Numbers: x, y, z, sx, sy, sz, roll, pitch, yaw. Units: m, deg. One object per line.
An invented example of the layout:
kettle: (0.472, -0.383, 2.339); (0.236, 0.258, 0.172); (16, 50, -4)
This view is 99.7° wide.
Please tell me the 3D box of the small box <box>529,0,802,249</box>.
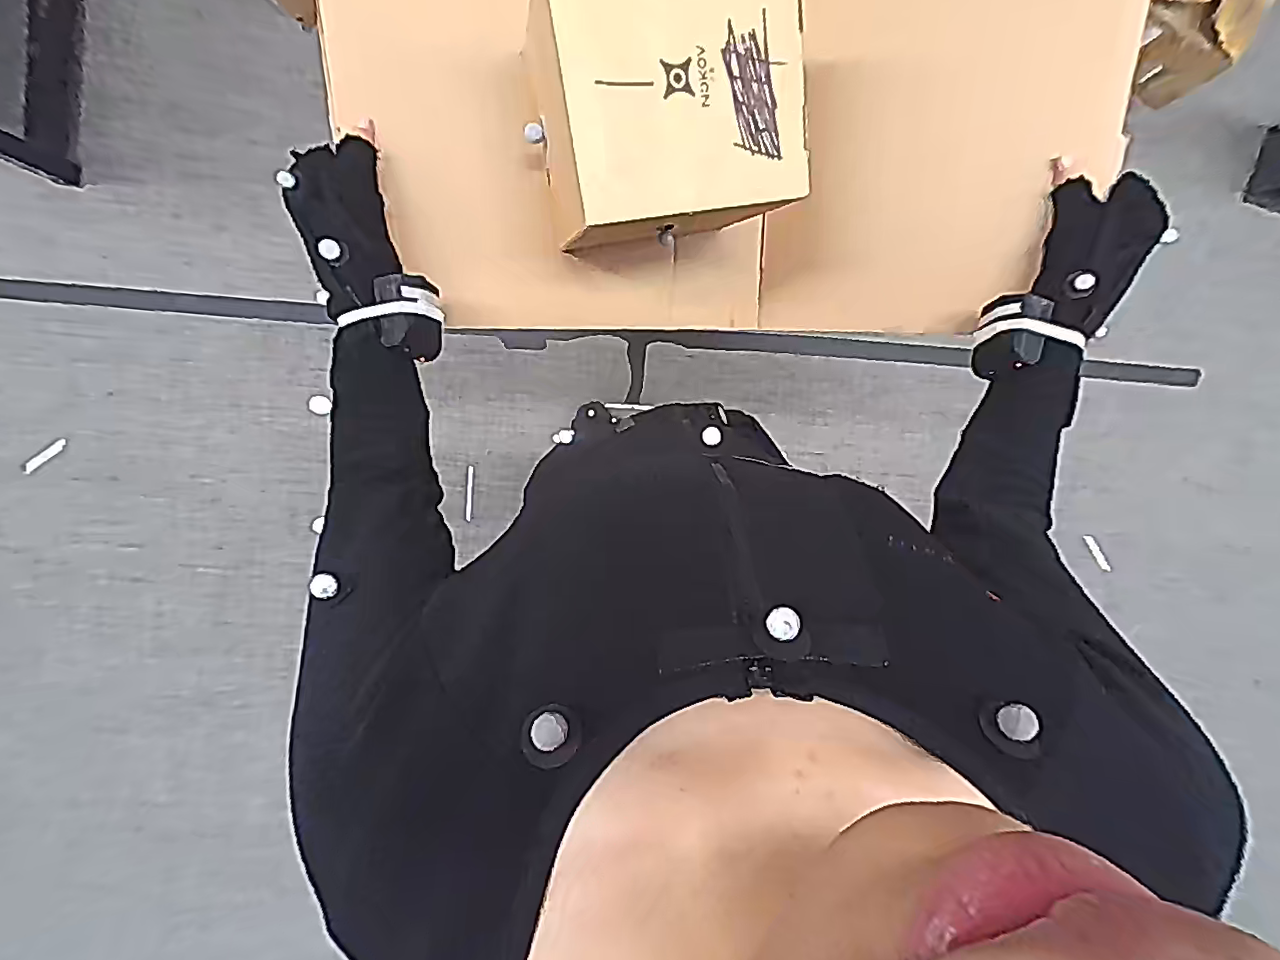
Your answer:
small box: (0.013, -0.297, 0.452); (0.179, 0.176, 0.168); (-13, 109, -11)
